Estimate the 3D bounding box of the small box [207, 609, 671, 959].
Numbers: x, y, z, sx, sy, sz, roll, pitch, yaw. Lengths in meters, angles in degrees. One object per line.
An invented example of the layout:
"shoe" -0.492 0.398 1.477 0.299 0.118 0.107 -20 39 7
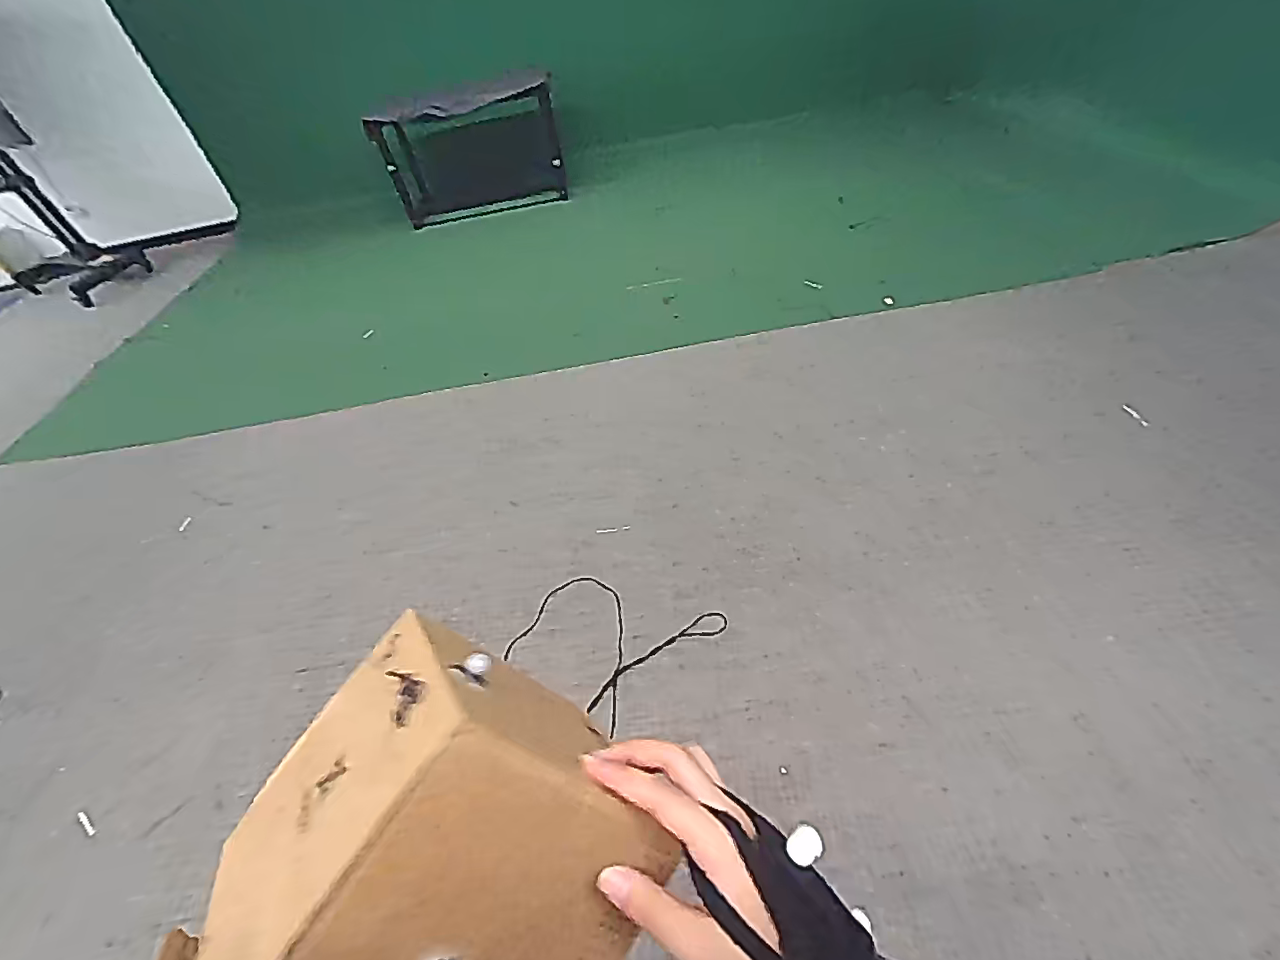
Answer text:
"small box" -0.113 0.214 0.325 0.179 0.176 0.168 -56 27 -12
